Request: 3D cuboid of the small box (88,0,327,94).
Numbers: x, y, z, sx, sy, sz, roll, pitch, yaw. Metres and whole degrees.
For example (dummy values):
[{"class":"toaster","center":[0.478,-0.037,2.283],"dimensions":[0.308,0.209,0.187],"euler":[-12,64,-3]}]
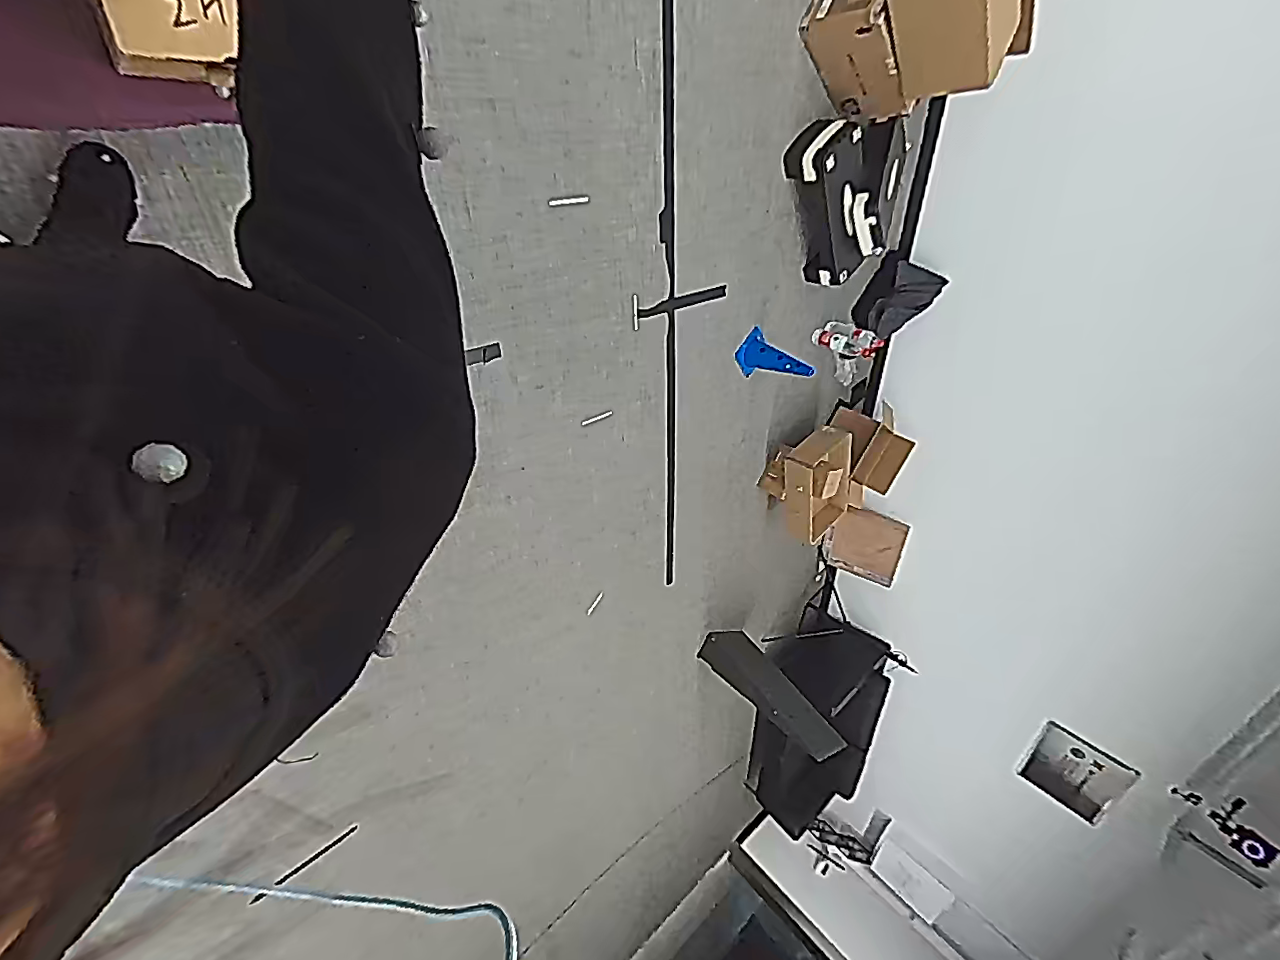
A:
[{"class":"small box","center":[-0.430,-0.489,0.516],"dimensions":[0.168,0.176,0.179],"euler":[-21,127,-34]}]
